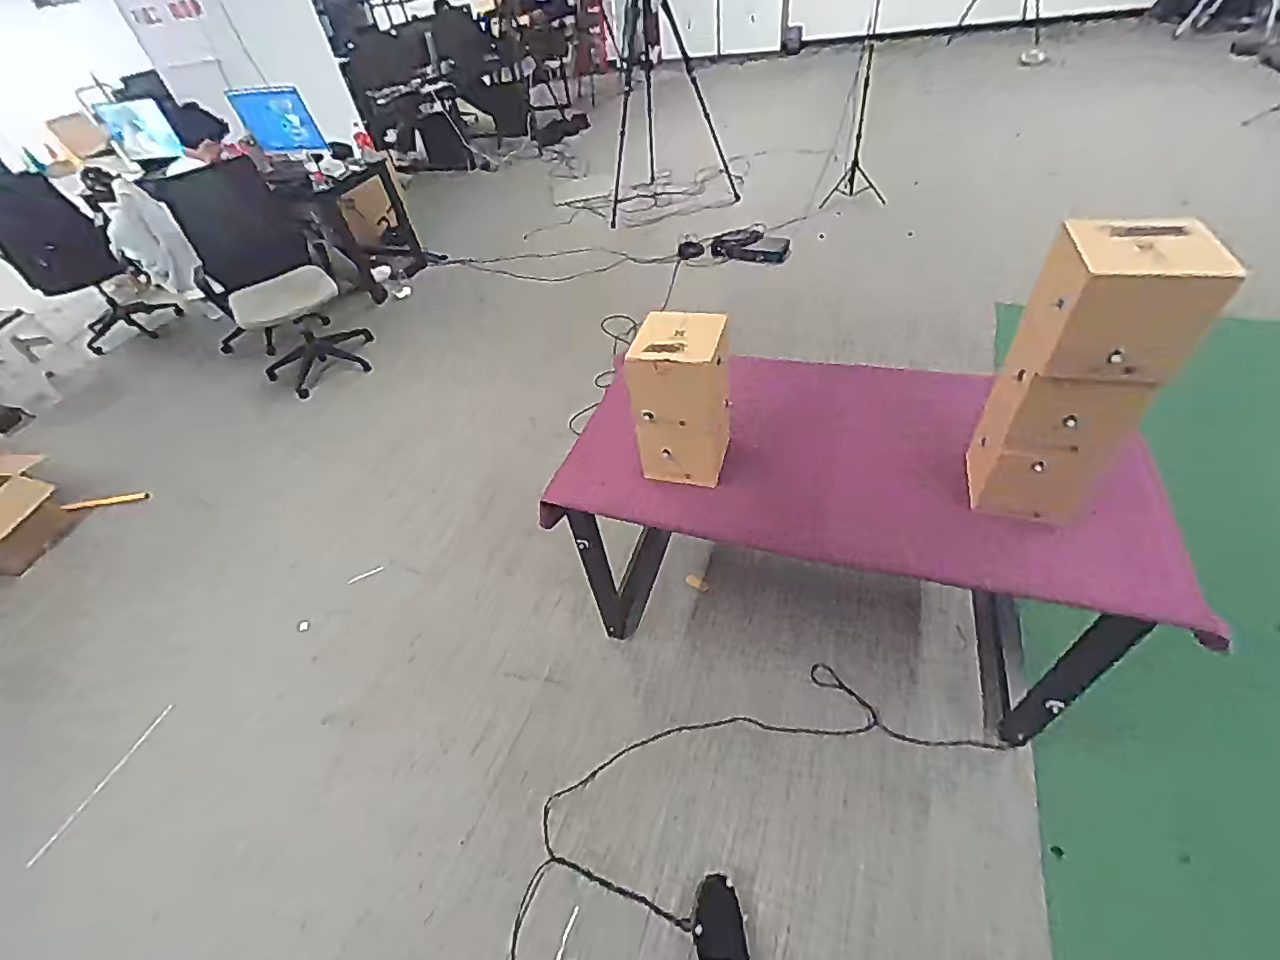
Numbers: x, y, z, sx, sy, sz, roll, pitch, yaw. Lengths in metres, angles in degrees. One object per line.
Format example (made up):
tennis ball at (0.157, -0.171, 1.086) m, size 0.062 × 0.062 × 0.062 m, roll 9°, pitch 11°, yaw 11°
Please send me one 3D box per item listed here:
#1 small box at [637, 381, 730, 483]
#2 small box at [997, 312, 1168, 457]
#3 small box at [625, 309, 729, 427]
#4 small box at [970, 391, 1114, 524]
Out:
small box at (0.106, -0.113, 1.212) m, size 0.168 × 0.176 × 0.179 m, roll 7°, pitch 48°, yaw 17°
small box at (0.725, -0.160, 0.911) m, size 0.168 × 0.176 × 0.179 m, roll 10°, pitch 48°, yaw 19°
small box at (0.085, -0.226, 1.093) m, size 0.168 × 0.176 × 0.179 m, roll 8°, pitch 47°, yaw 17°
small box at (0.746, -0.045, 1.027) m, size 0.168 × 0.176 × 0.179 m, roll 8°, pitch 47°, yaw 19°
